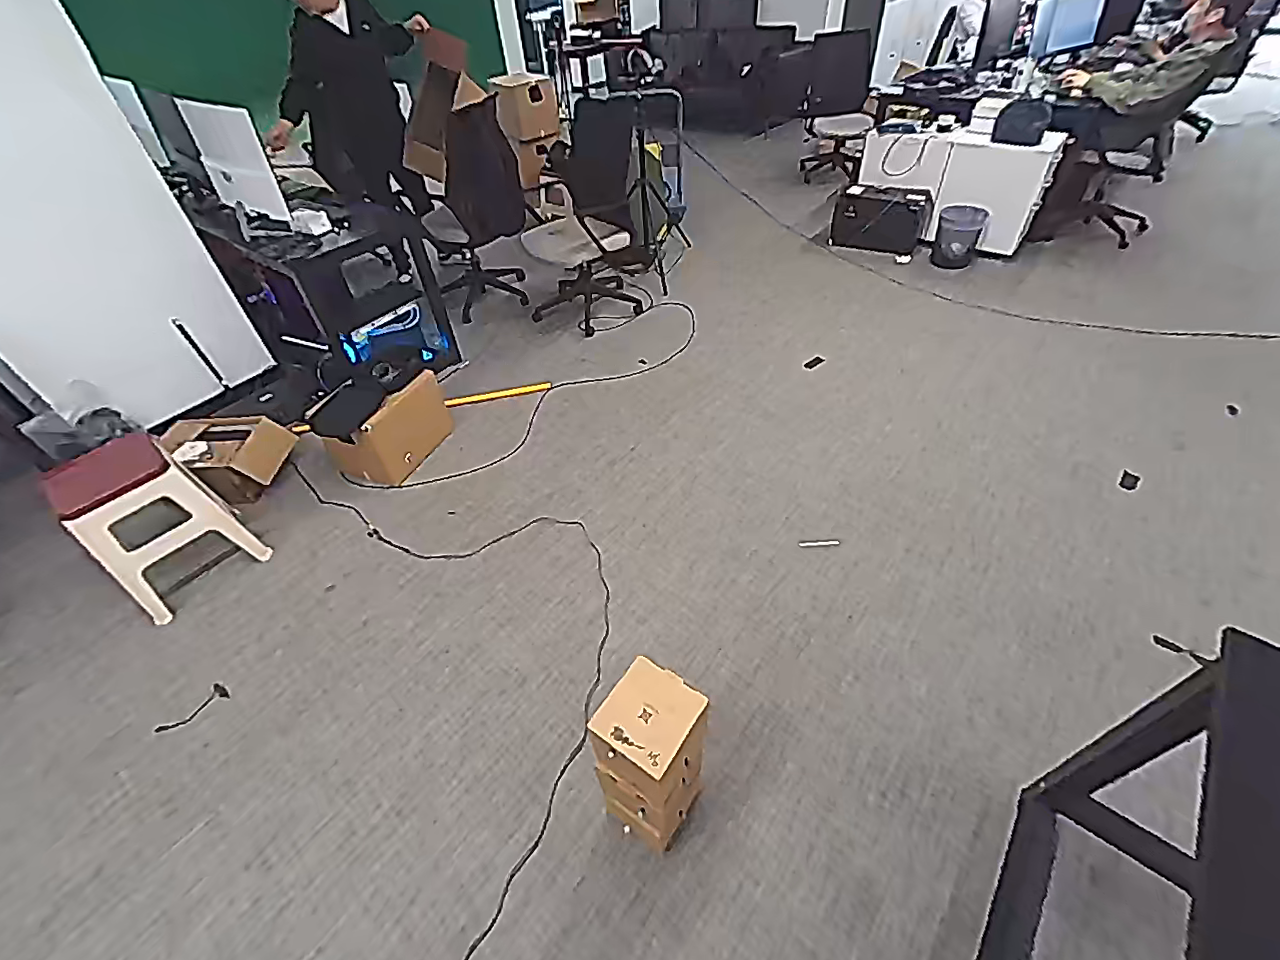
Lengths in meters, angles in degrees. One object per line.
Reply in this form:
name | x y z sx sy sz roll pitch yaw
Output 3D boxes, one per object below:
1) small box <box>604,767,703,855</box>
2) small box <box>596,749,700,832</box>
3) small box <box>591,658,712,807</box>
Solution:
small box | 0.034 0.742 1.285 0.168 0.176 0.179 24 52 27
small box | 0.026 0.622 1.176 0.168 0.176 0.179 22 49 24
small box | 0.024 0.498 1.068 0.168 0.176 0.179 24 51 27
